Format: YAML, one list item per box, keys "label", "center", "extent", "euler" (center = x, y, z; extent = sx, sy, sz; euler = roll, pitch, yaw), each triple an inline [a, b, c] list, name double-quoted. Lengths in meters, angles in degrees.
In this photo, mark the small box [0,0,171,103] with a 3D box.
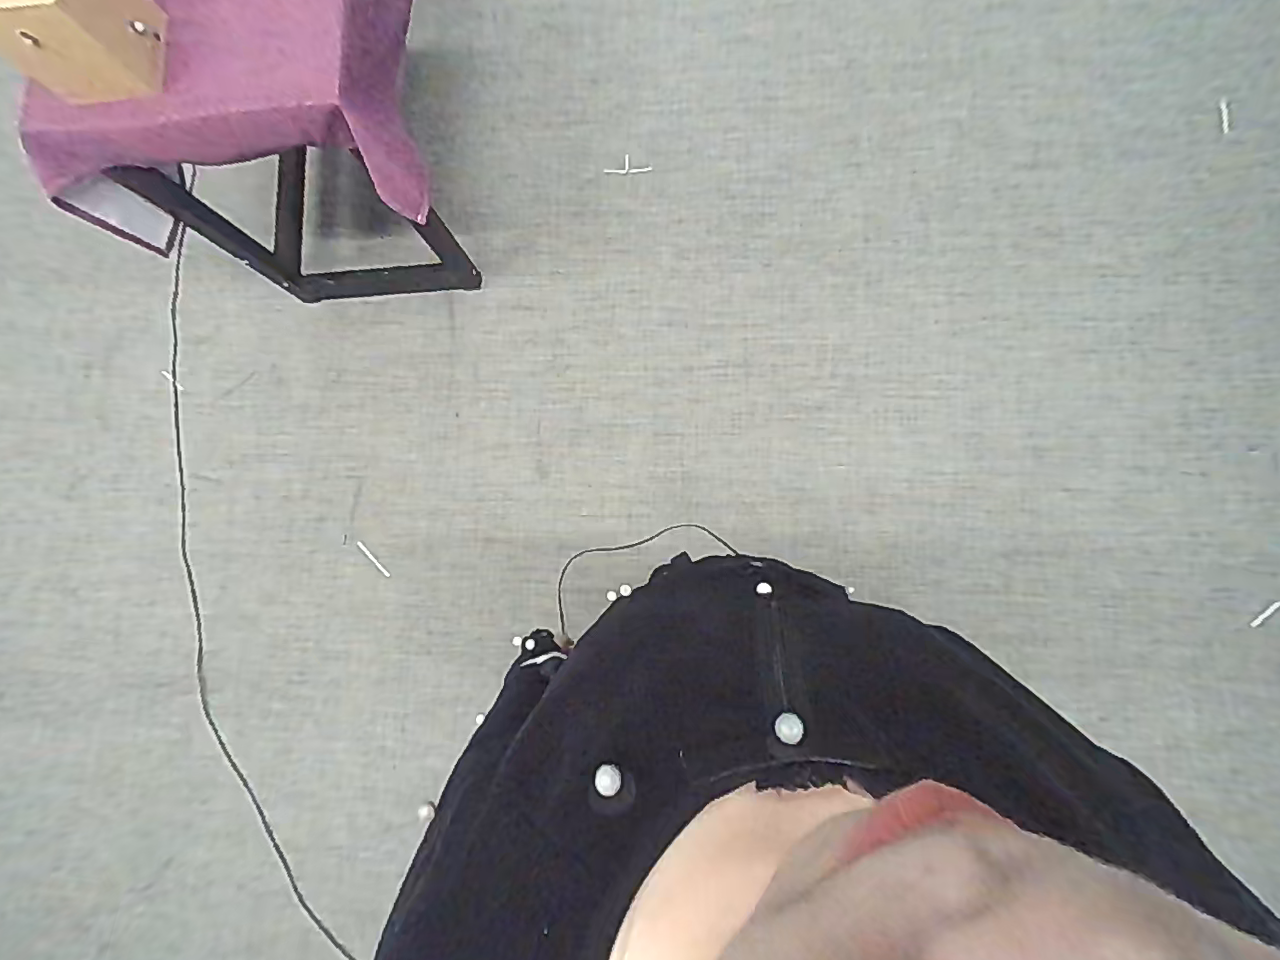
- label: "small box"
  center: [-0.948, -0.768, 0.902]
  extent: [0.179, 0.176, 0.168]
  euler: [-2, 82, 4]
